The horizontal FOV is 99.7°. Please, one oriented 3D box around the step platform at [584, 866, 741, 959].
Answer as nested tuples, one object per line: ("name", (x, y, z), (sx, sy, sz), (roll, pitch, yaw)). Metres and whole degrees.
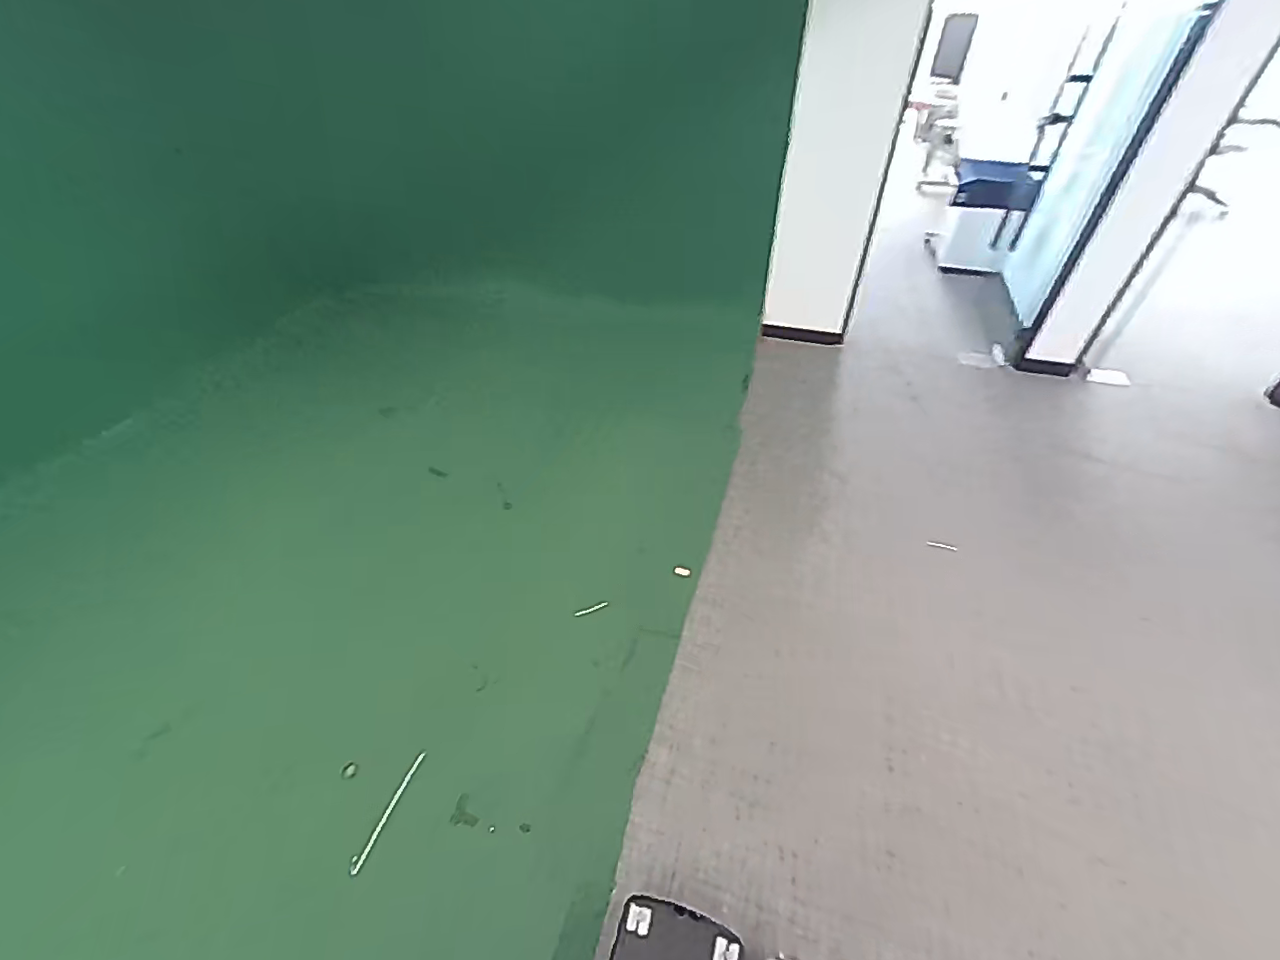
("step platform", (-0.031, 1.081, 0.899), (0.286, 0.204, 0.684), (12, 47, 12))
